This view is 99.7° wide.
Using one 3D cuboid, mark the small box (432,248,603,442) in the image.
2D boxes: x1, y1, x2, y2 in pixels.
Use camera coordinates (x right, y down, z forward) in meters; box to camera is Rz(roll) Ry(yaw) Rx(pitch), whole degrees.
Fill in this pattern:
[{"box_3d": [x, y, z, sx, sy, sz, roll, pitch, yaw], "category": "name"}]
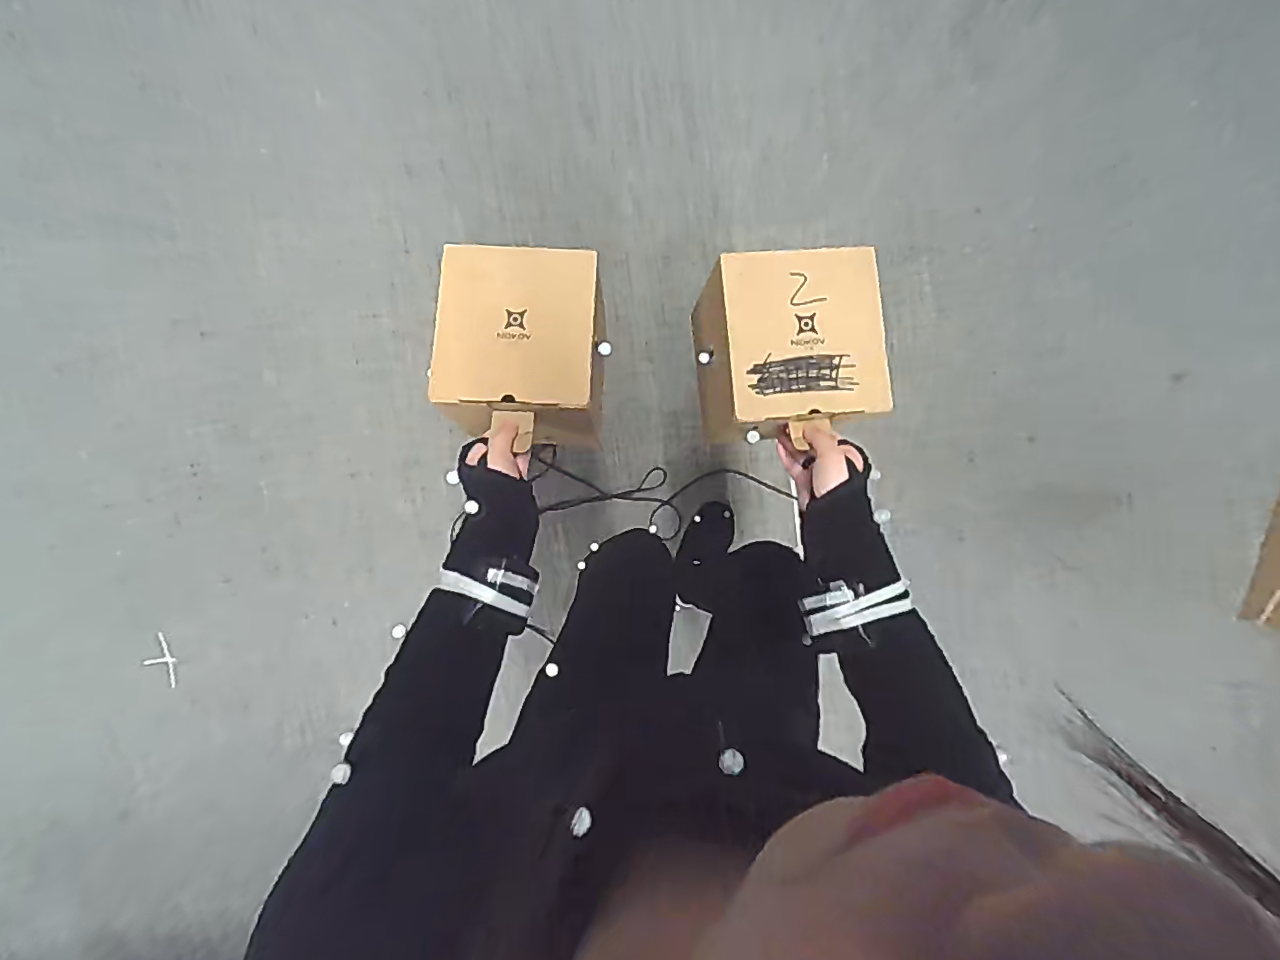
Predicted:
[{"box_3d": [-0.134, -0.153, 0.657, 0.168, 0.176, 0.179, 2, 82, 0], "category": "small box"}]
